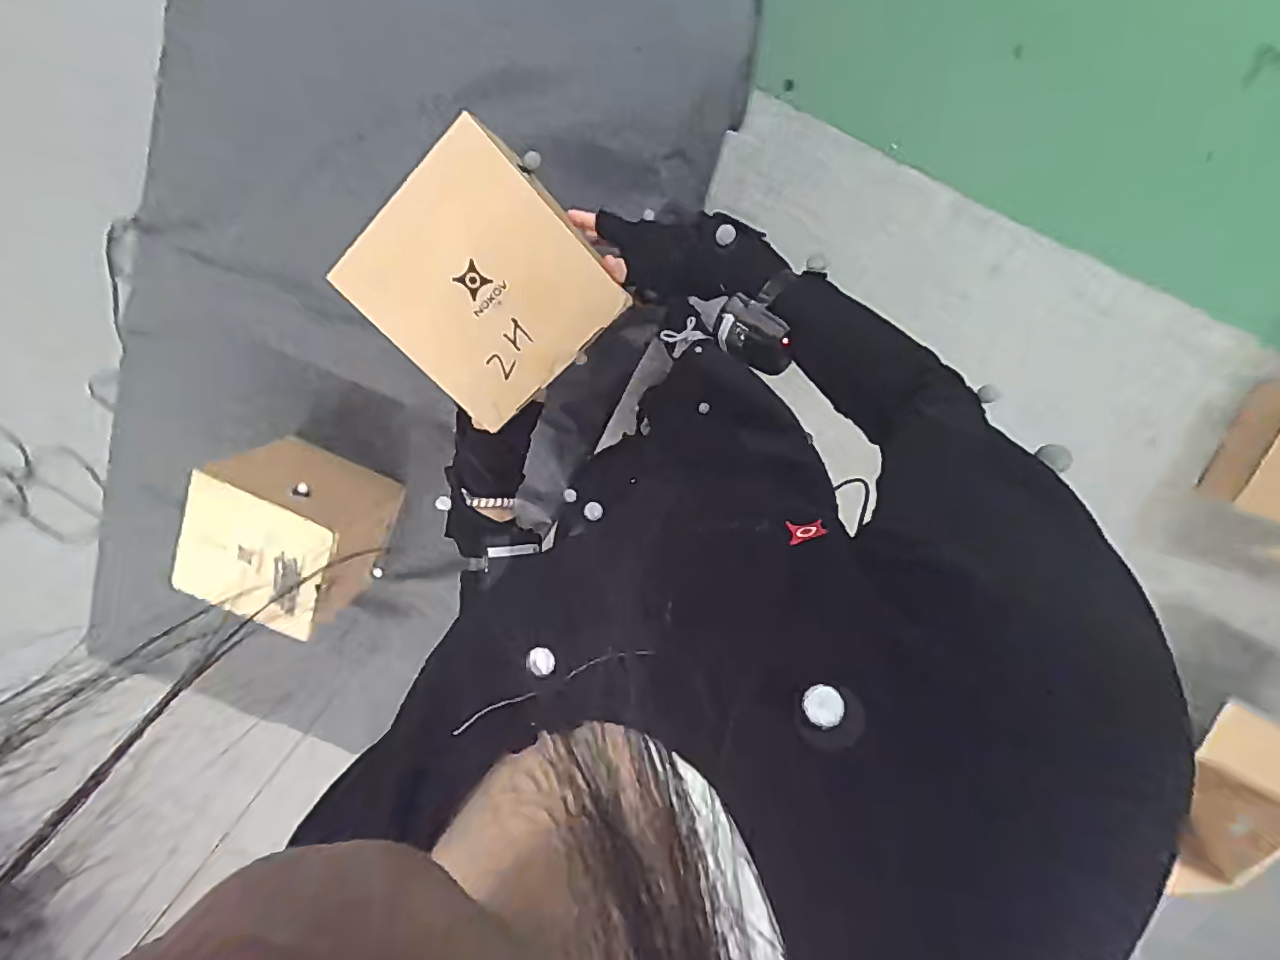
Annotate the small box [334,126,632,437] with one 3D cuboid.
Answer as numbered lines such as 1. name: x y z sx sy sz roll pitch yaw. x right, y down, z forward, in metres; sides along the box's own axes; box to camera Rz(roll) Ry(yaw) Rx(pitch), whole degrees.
1. small box: -0.123 -0.171 0.498 0.168 0.176 0.179 -38 107 14

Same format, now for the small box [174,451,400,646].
1. small box: -0.451 0.079 0.715 0.179 0.176 0.168 24 107 -3
